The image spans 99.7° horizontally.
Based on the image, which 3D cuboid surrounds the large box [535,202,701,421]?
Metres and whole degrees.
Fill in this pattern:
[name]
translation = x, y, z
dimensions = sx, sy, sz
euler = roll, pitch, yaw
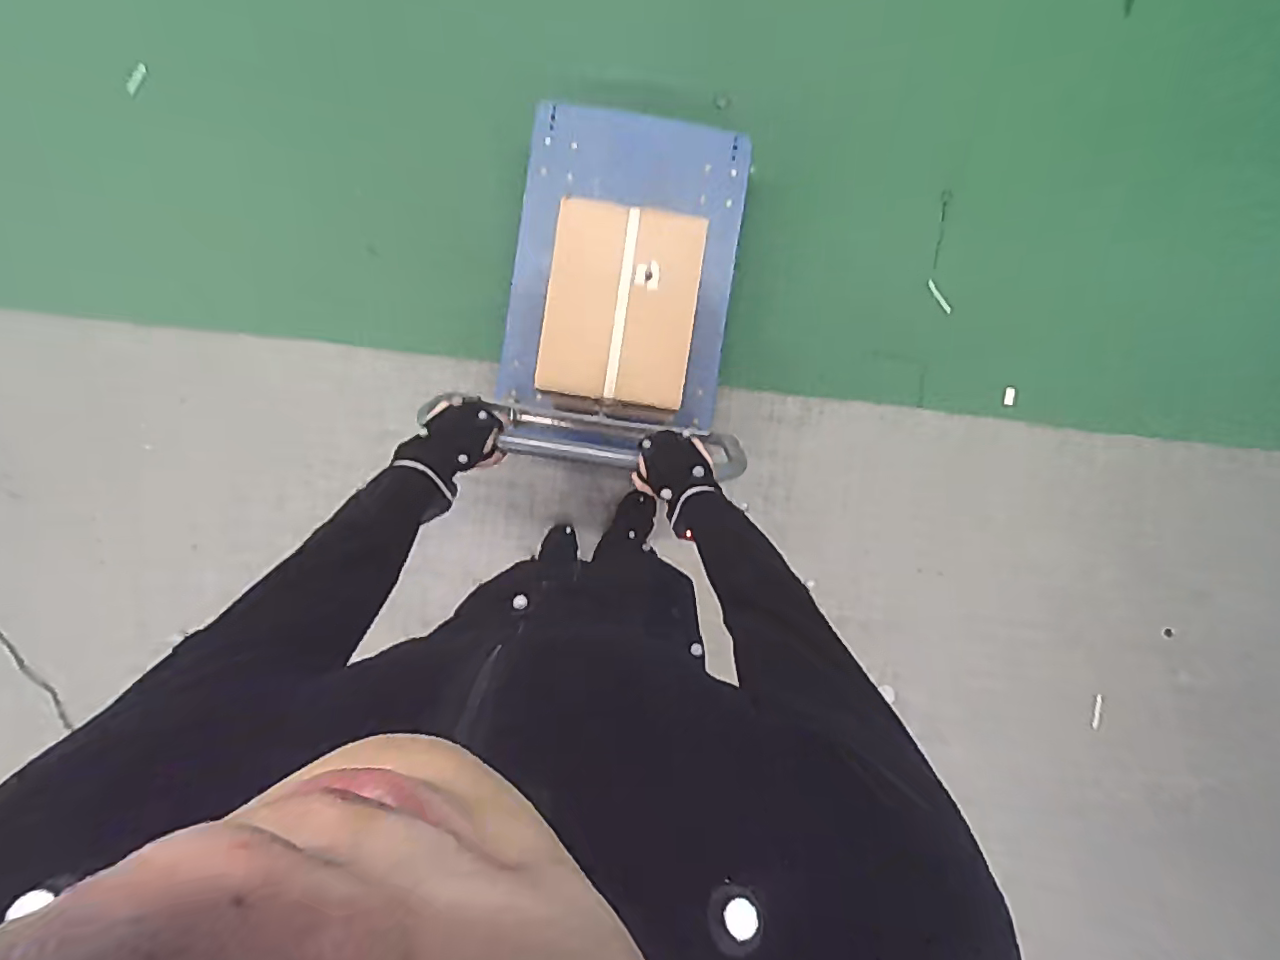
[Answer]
[large box]
translation = -0.051, -0.366, 1.283
dimensions = 0.320, 0.320, 0.408
euler = 8, 91, -3
